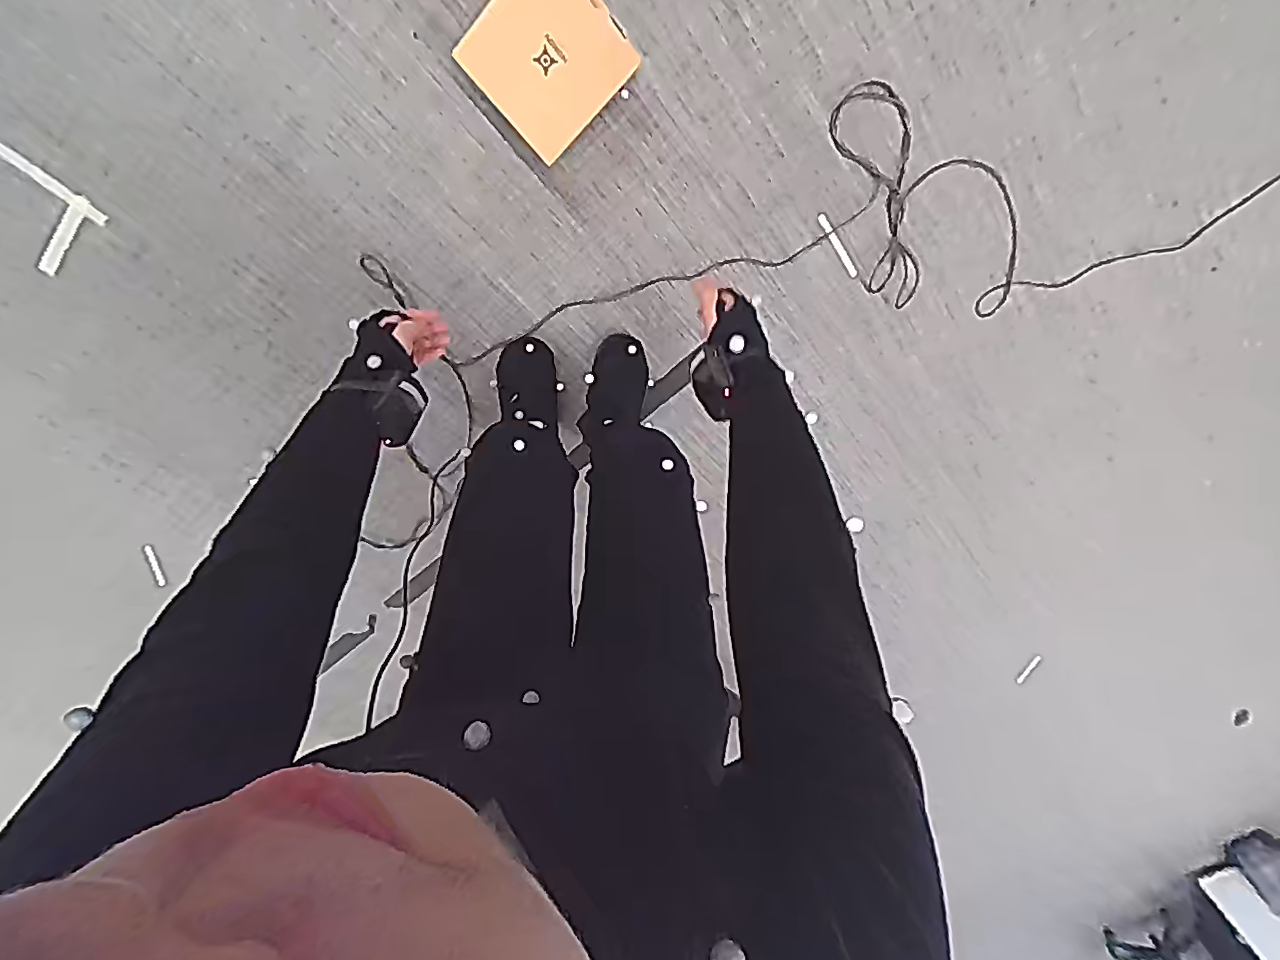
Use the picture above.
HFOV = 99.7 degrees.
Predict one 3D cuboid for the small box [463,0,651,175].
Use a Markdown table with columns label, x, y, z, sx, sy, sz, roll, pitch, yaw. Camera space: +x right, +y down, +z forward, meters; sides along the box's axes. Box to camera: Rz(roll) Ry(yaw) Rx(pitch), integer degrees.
| label | x | y | z | sx | sy | sz | roll | pitch | yaw |
| --- | --- | --- | --- | --- | --- | --- | --- | --- | --- |
| small box | -0.099 | -0.549 | 0.696 | 0.179 | 0.176 | 0.168 | 42 | 92 | -8 |
